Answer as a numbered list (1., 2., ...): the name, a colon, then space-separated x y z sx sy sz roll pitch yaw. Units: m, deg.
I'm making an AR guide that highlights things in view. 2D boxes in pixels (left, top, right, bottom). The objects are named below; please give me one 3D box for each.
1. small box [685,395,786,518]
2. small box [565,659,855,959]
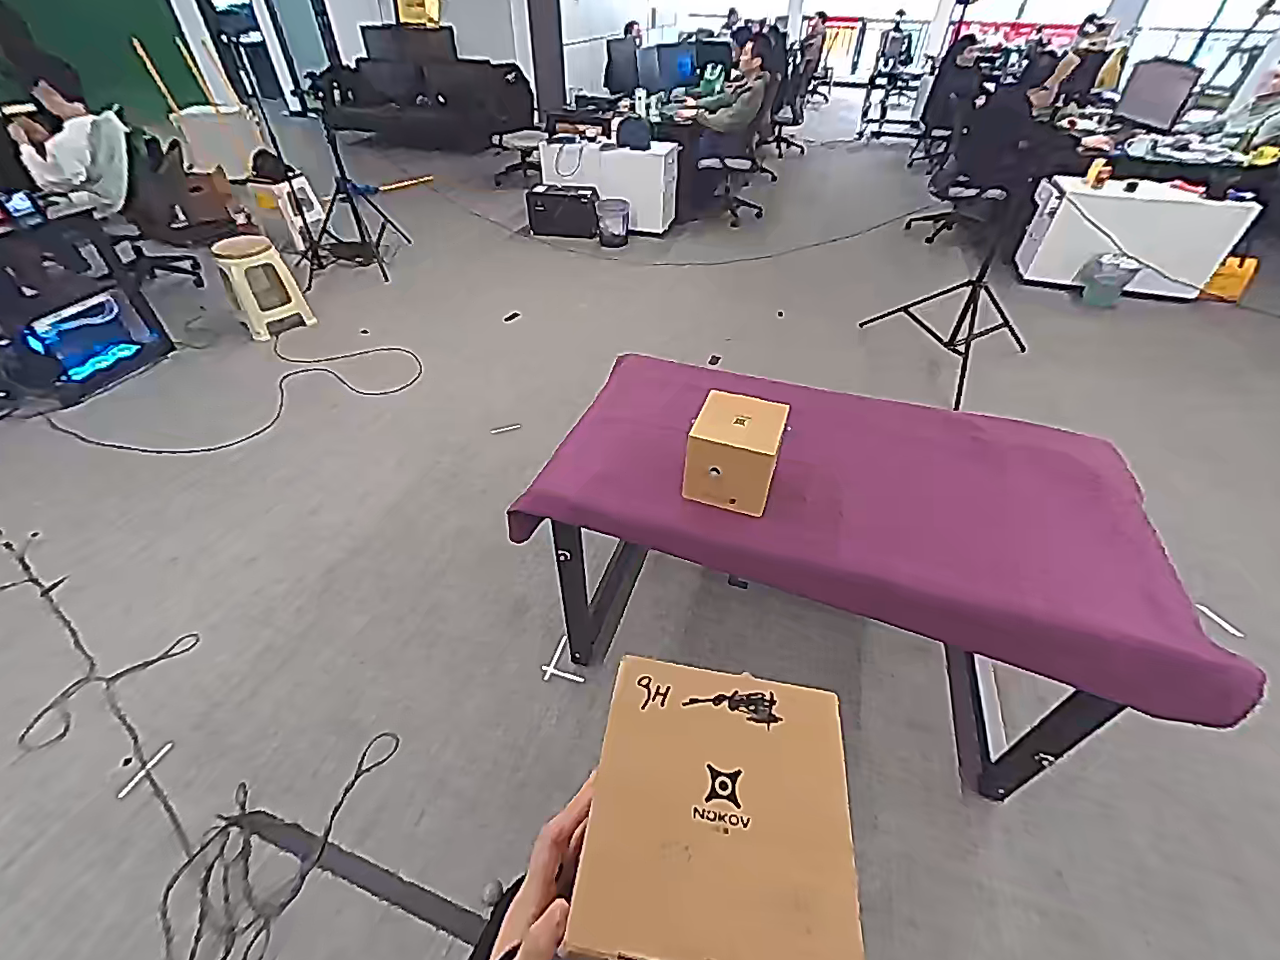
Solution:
1. small box: 0.194 -0.048 1.117 0.168 0.176 0.179 14 43 14
2. small box: 0.048 0.267 0.411 0.168 0.176 0.179 9 45 4
